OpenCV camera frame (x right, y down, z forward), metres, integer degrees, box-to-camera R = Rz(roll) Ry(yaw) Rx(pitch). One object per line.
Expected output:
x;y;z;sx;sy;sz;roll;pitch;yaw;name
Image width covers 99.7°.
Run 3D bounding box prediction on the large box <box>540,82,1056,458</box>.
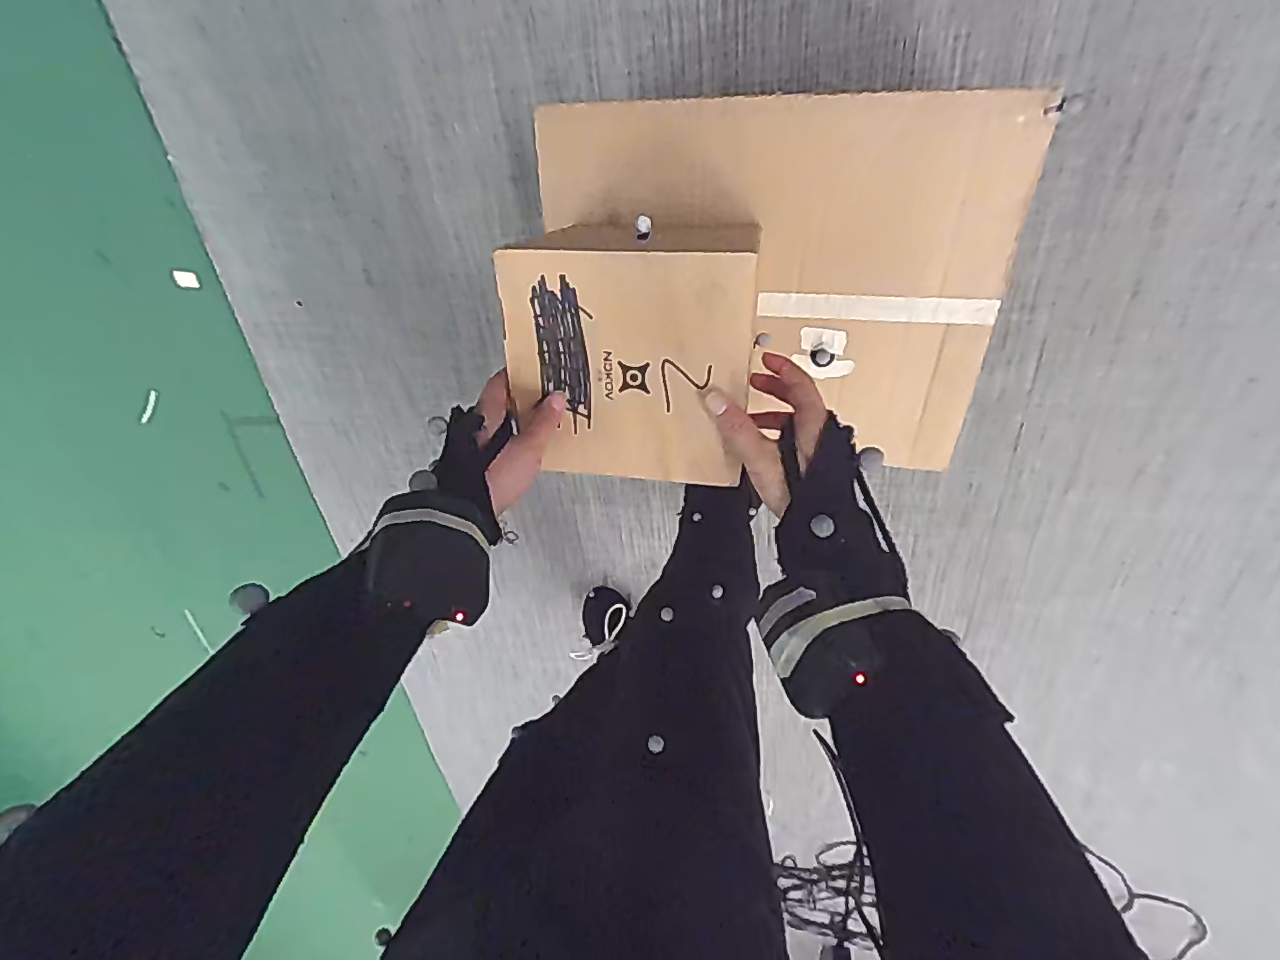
0.139;-0.241;0.626;0.408;0.320;0.320;5;121;11;large box
